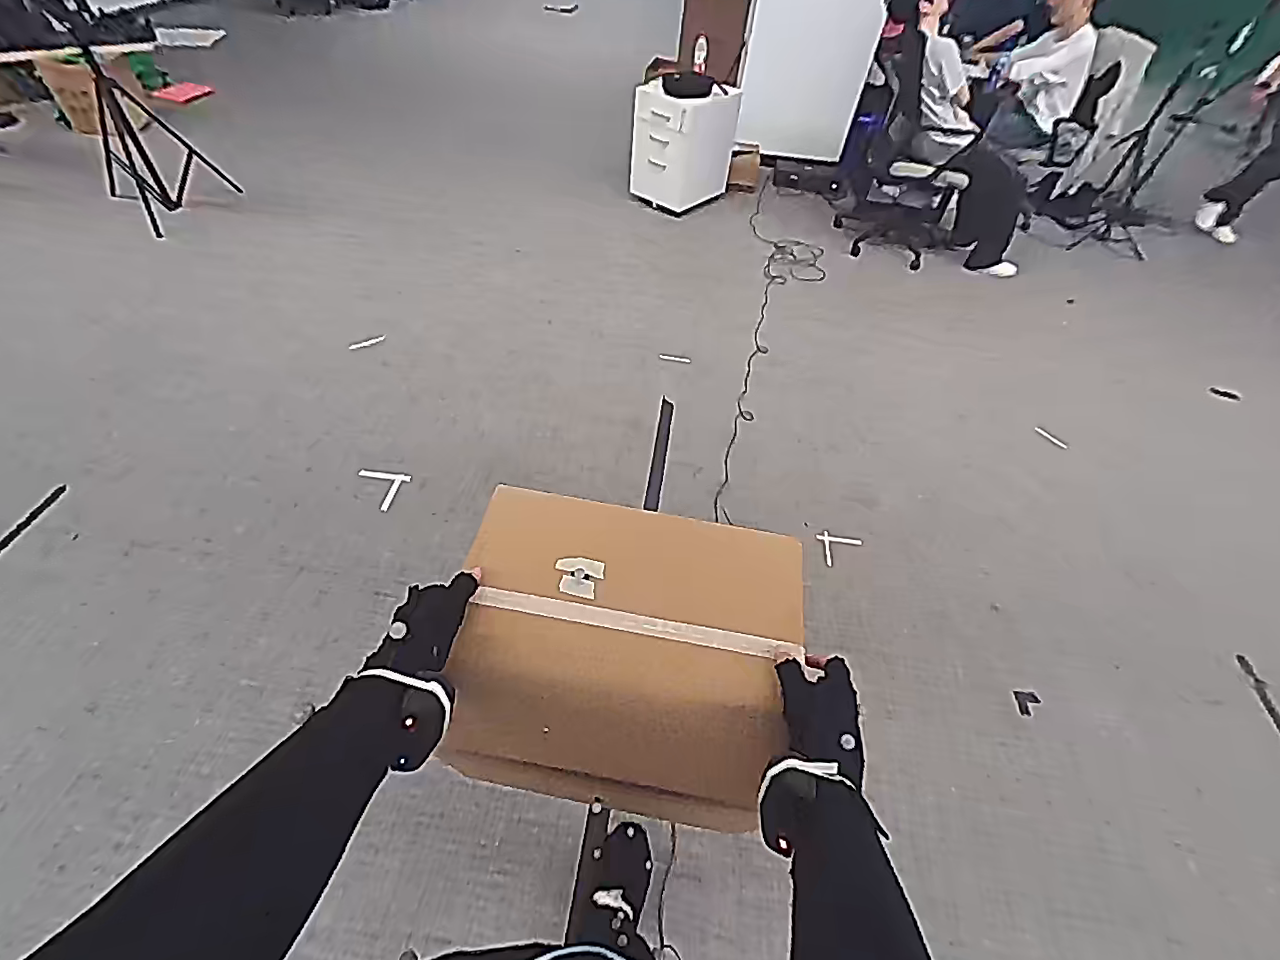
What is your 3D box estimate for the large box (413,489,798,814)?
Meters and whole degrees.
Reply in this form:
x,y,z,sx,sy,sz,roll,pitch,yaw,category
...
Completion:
x,y,z,sx,sy,sz,roll,pitch,yaw,category
-0.022,0.249,0.752,0.408,0.320,0.320,10,54,3,large box
